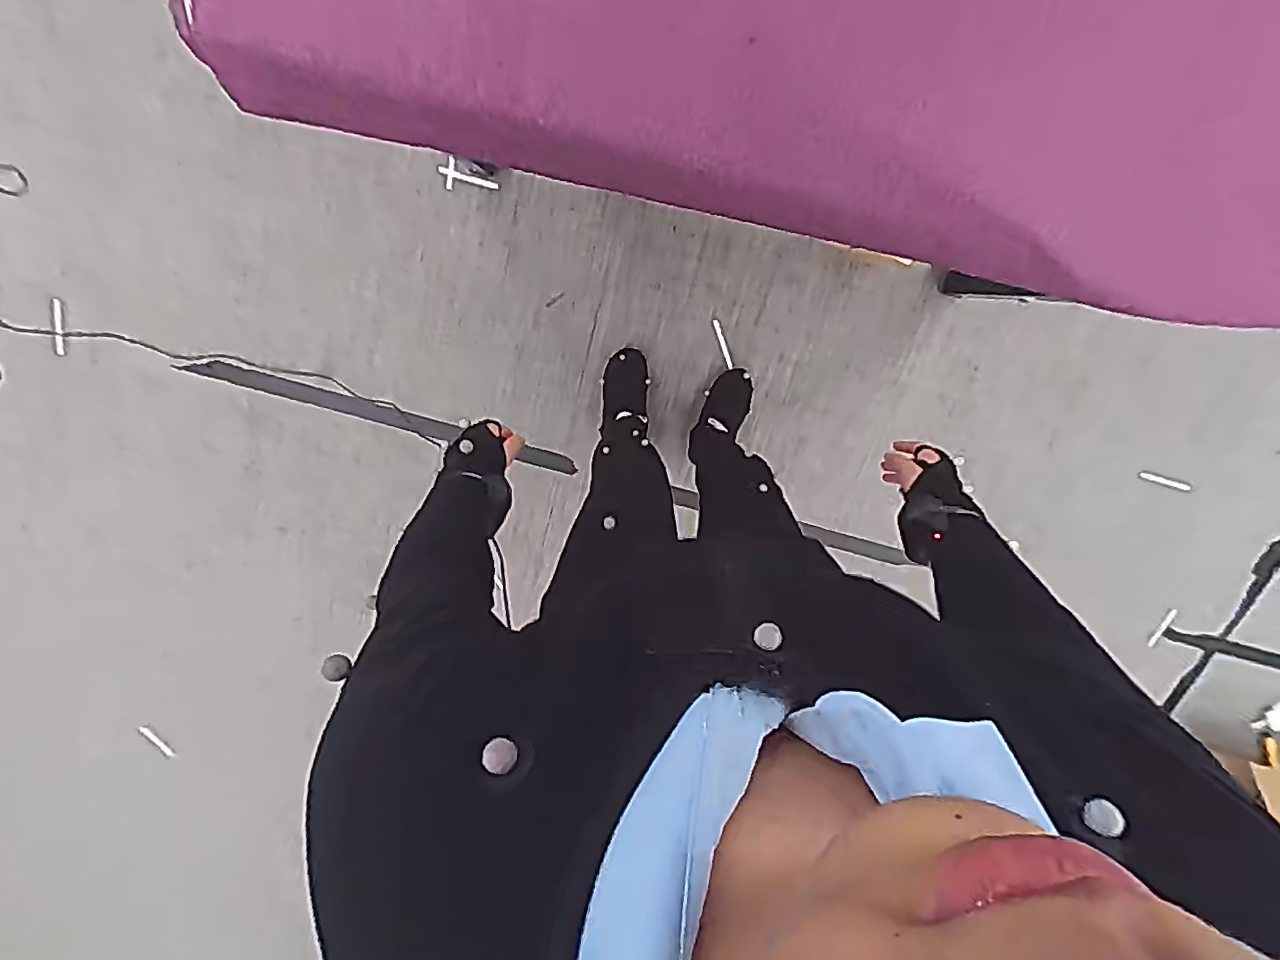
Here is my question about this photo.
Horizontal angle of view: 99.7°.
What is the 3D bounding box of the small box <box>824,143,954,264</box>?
[{"bbox_3d":[0.523,-0.583,1.169,0.168,0.176,0.179,22,108,-8],"label":"small box"}]
